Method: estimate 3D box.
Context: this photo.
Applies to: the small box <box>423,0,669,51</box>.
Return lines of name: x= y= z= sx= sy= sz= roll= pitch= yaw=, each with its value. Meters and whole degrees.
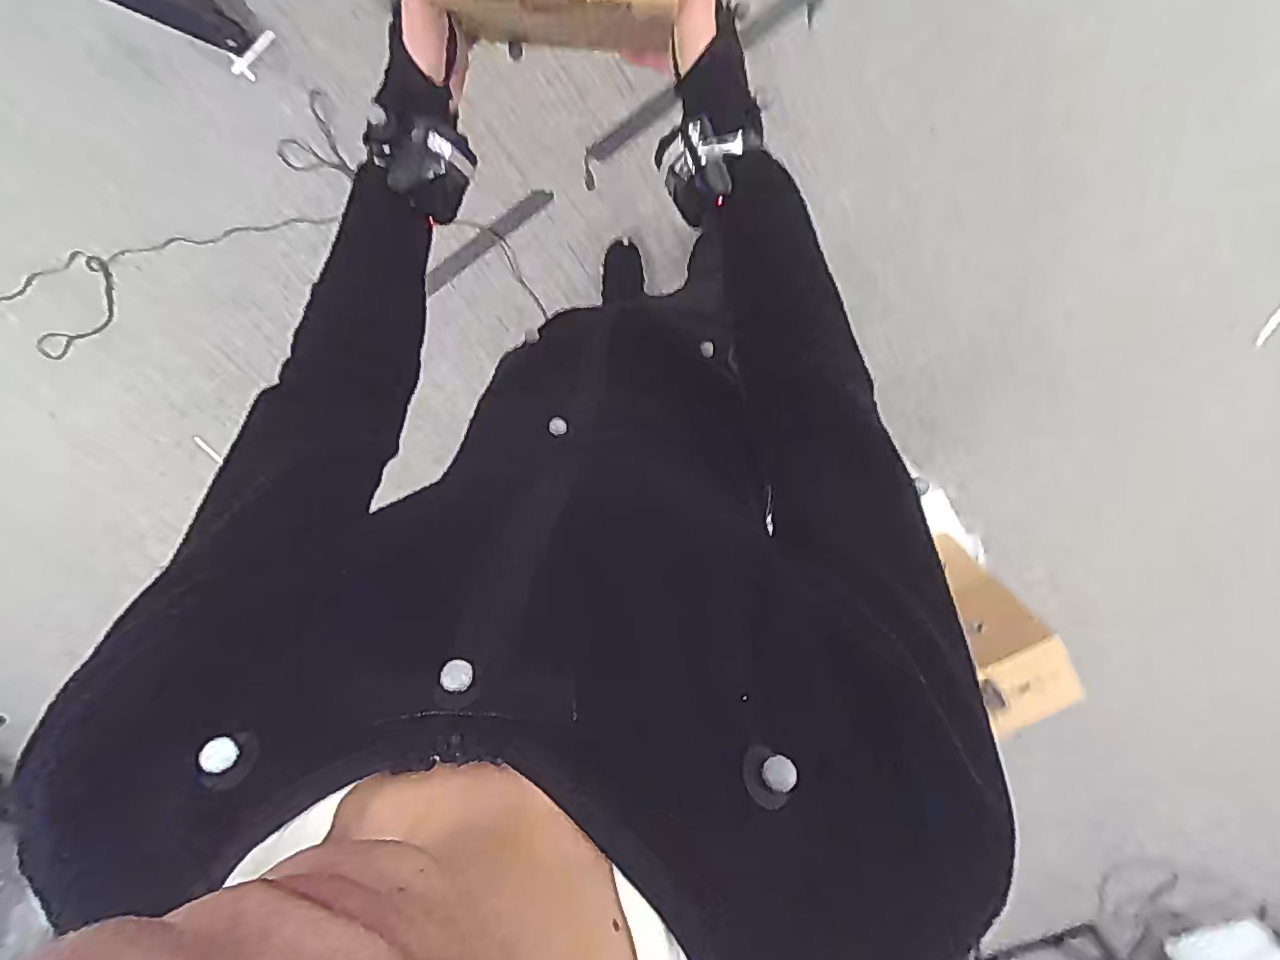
small box: x=-0.057 y=-0.418 z=0.371 sx=0.168 sy=0.176 sz=0.179 roll=2 pitch=120 yaw=-2
